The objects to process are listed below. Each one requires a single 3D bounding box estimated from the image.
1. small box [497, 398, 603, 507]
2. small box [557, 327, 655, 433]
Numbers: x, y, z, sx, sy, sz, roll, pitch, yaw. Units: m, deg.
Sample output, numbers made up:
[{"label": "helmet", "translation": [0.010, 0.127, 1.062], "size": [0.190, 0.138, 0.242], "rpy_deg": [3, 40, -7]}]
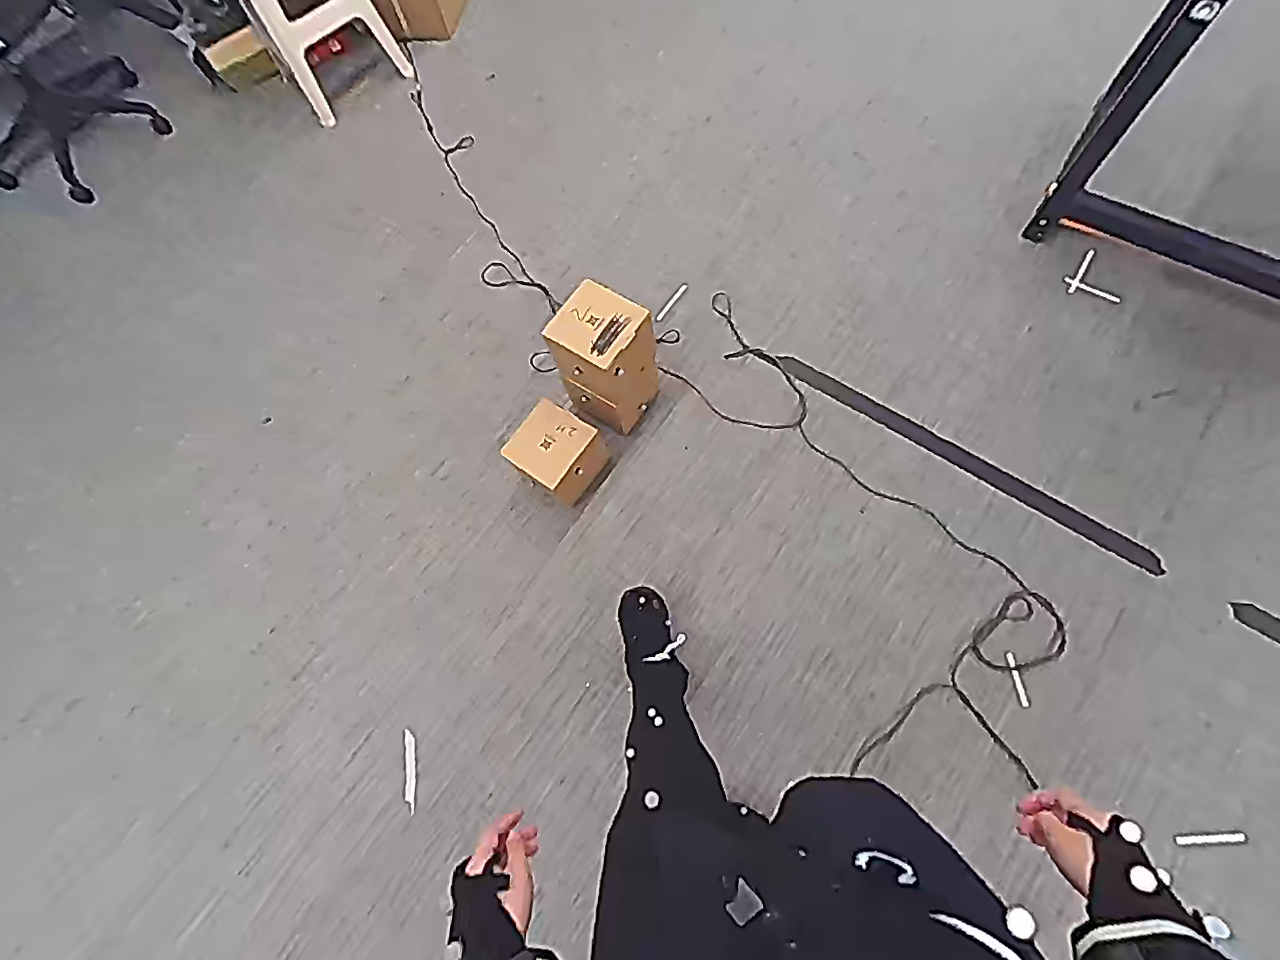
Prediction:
[{"label": "small box", "translation": [-0.207, -0.059, 1.314], "size": [0.168, 0.176, 0.179], "rpy_deg": [34, 78, 15]}, {"label": "small box", "translation": [-0.078, -0.245, 1.364], "size": [0.179, 0.176, 0.168], "rpy_deg": [32, 77, 14]}]
